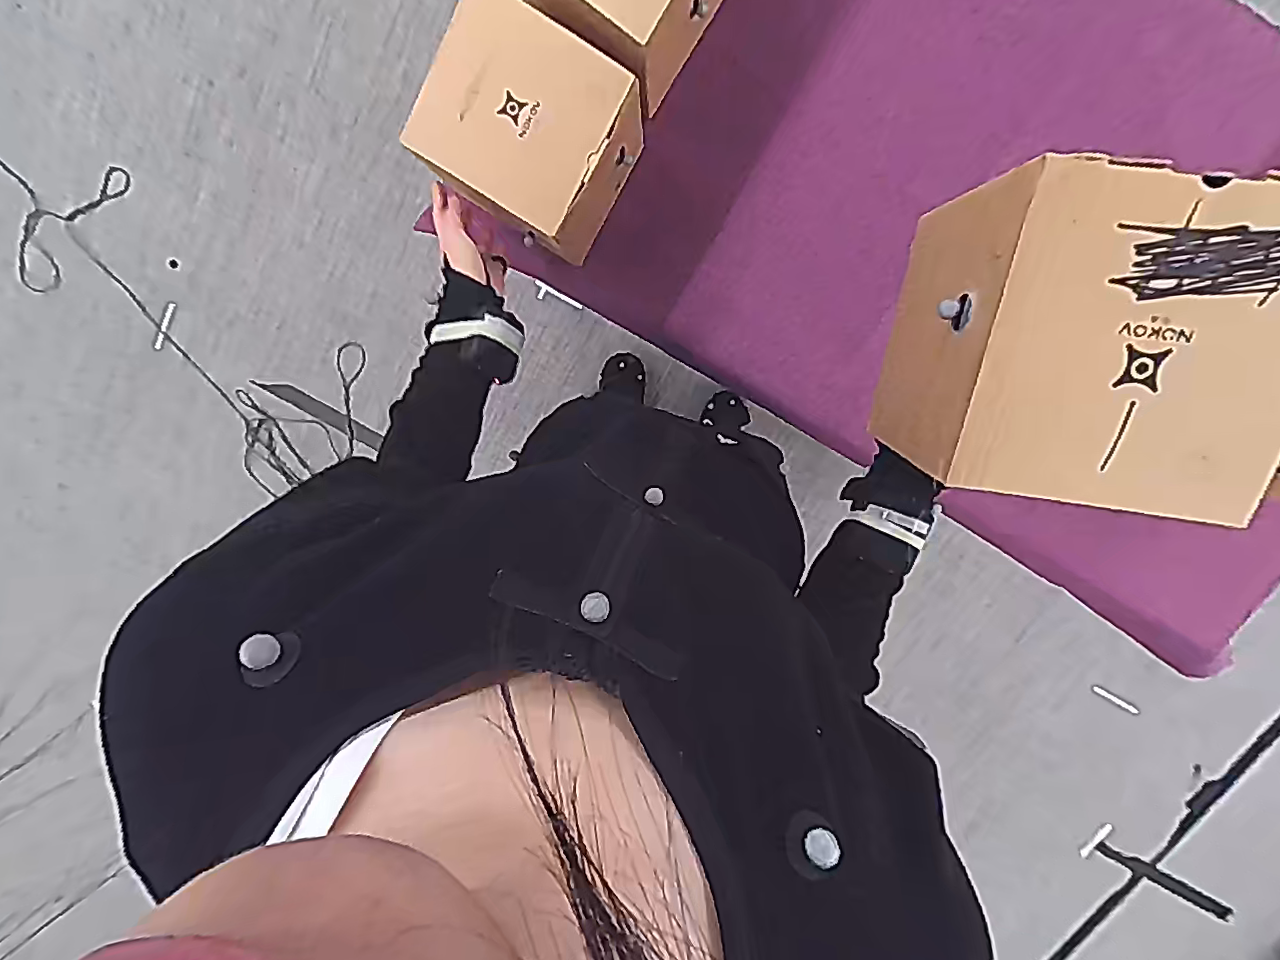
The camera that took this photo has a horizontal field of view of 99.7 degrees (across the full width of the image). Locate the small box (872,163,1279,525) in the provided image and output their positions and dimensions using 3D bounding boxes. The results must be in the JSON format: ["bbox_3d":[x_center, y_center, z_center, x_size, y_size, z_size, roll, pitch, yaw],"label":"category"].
[{"bbox_3d":[0.279,-0.089,0.371,0.168,0.176,0.179,8,106,5],"label":"small box"}]
